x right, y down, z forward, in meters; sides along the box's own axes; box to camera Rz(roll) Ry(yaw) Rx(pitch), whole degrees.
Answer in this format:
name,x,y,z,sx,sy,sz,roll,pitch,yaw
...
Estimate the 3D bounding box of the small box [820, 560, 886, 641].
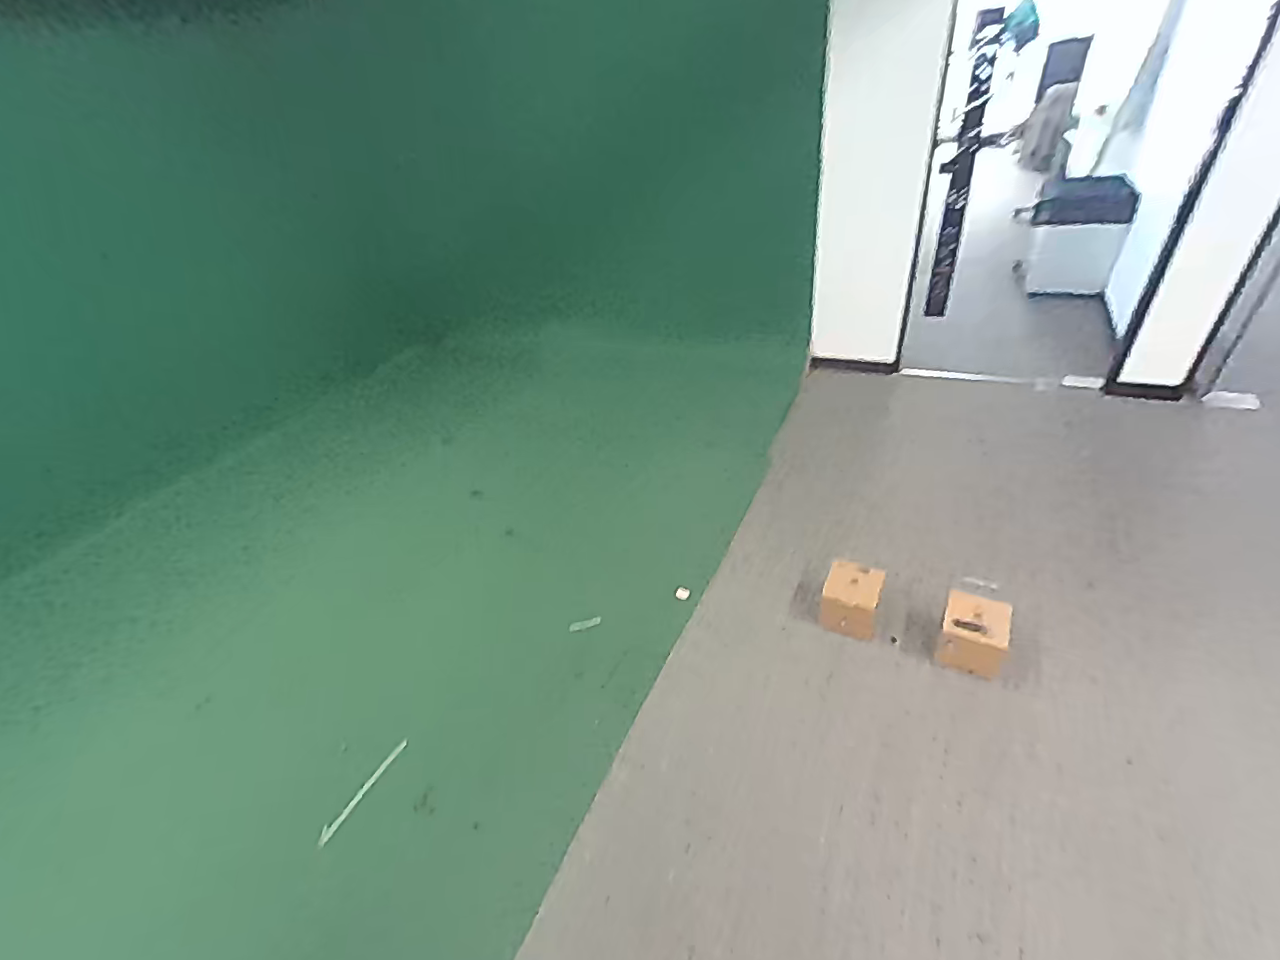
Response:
name,x,y,z,sx,sy,sz,roll,pitch,yaw
small box,0.704,0.402,1.794,0.168,0.176,0.179,14,44,28
